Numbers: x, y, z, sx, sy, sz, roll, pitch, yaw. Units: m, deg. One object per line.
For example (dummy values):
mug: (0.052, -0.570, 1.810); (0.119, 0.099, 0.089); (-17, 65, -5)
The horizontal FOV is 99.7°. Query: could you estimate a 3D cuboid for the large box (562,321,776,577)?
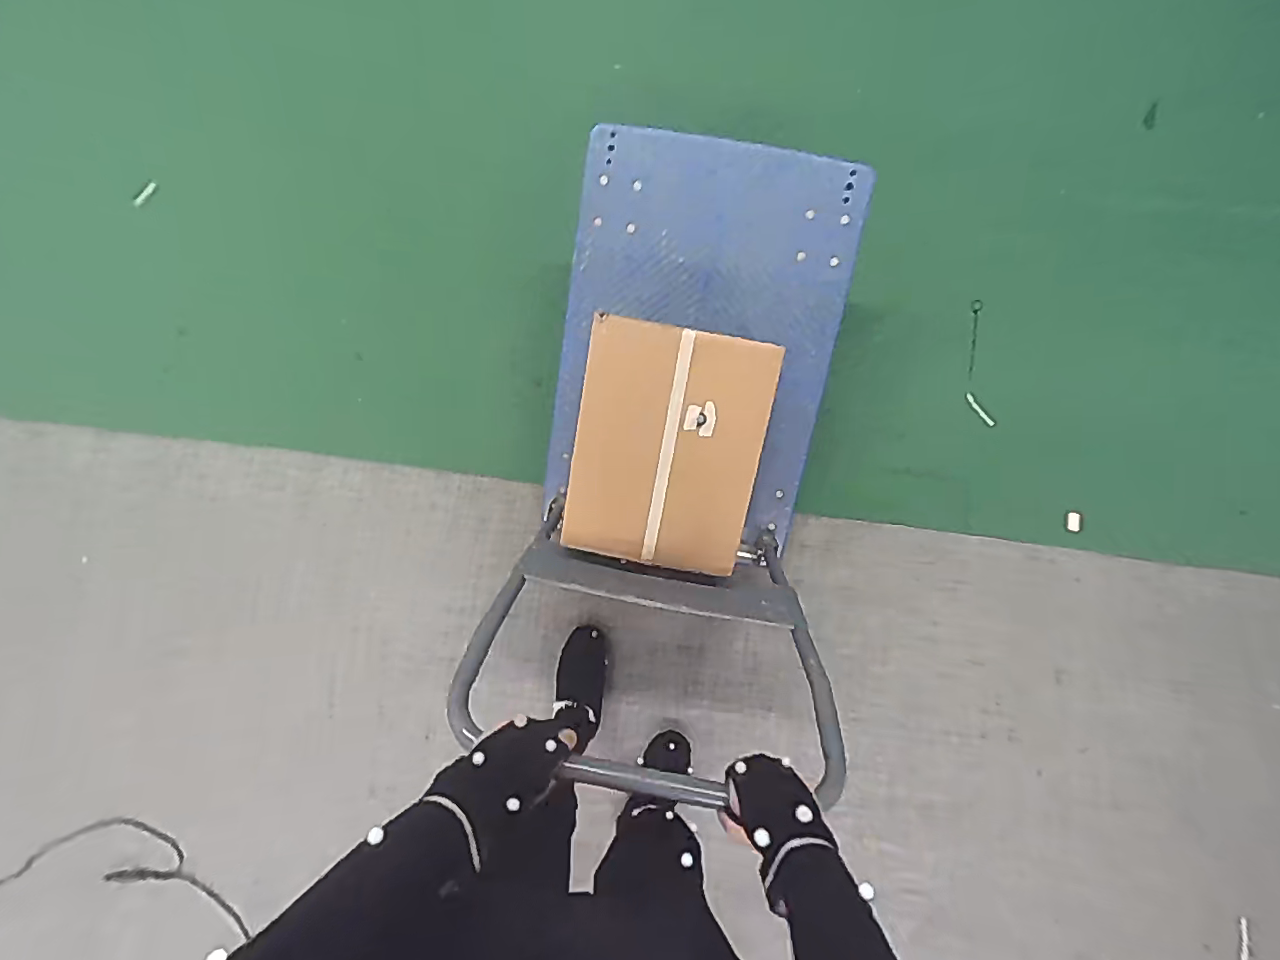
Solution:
large box: (0.052, -0.073, 1.068); (0.320, 0.320, 0.408); (11, 103, 1)
